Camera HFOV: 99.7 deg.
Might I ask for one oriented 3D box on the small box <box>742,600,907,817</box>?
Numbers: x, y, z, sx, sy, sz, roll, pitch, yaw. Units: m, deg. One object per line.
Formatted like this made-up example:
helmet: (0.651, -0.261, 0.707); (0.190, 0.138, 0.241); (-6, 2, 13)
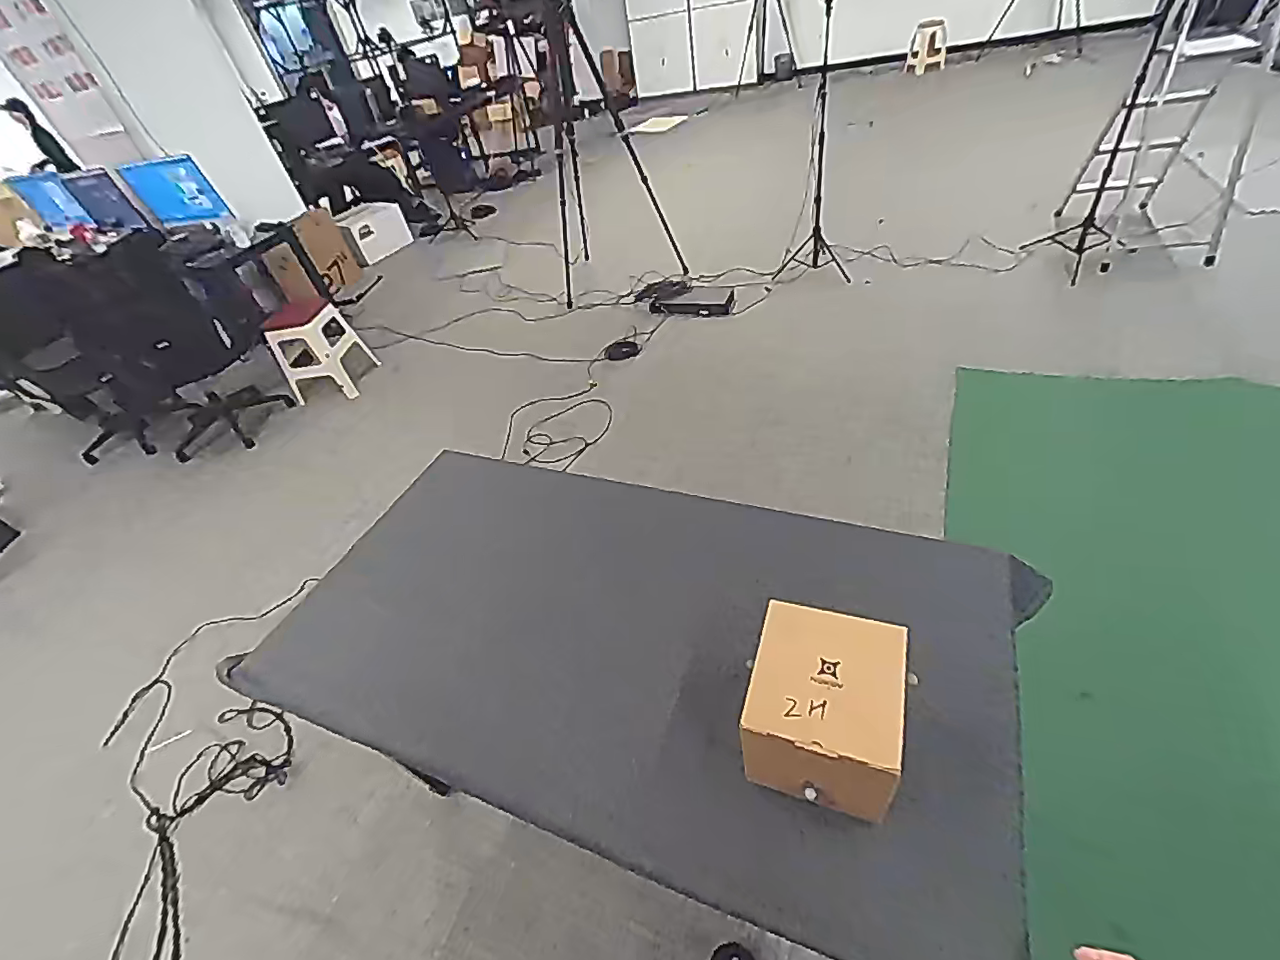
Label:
small box: (0.232, 0.284, 0.682); (0.168, 0.176, 0.179); (7, 46, 23)
